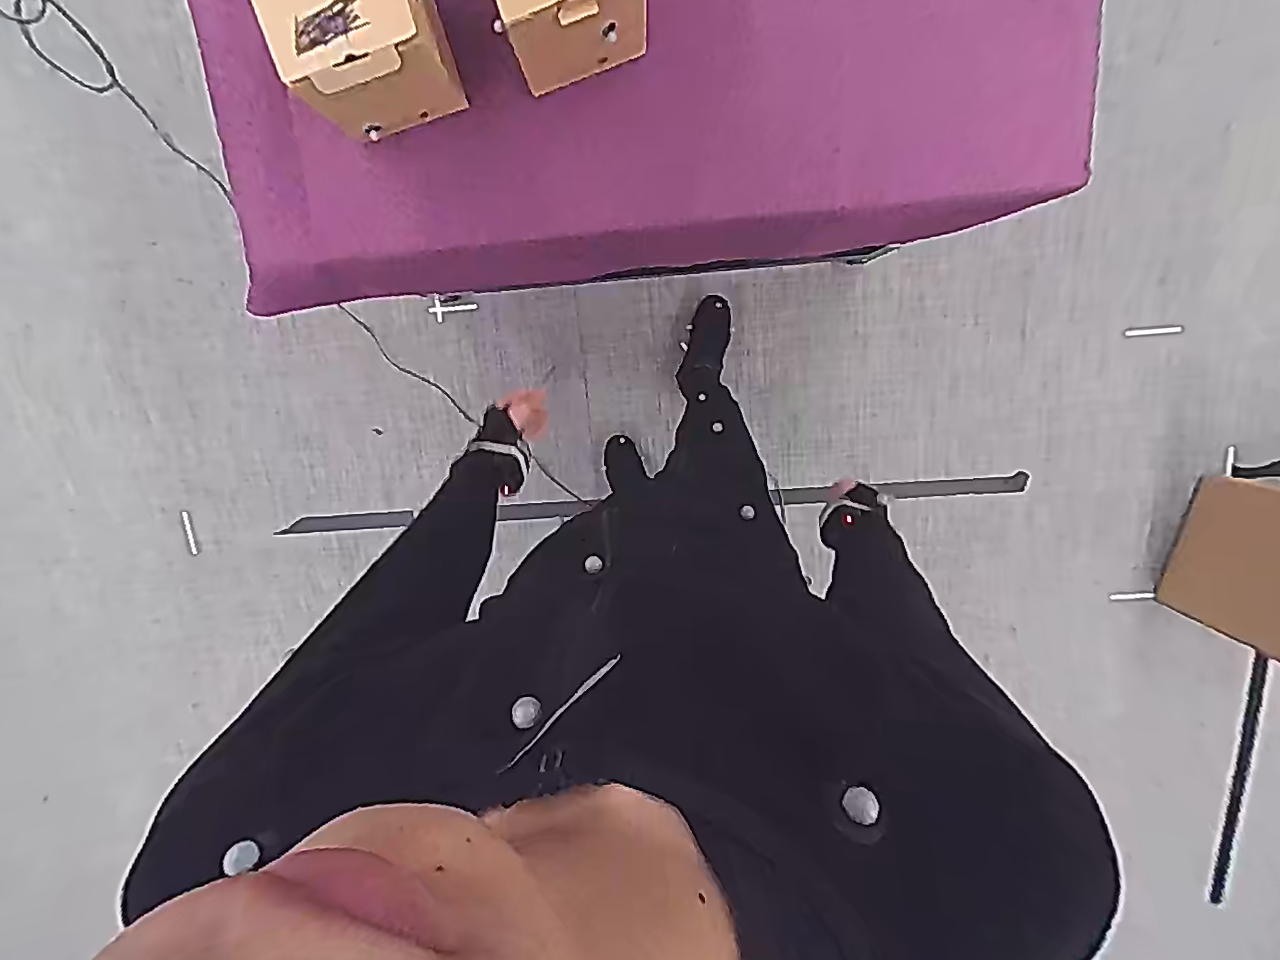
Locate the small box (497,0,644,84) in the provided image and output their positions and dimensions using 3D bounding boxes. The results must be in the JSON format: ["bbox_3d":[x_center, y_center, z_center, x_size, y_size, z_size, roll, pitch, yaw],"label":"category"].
[{"bbox_3d":[-0.095,-0.620,0.650,0.168,0.176,0.179,-18,101,4],"label":"small box"}]

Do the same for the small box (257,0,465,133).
[{"bbox_3d":[-0.339,-0.561,0.664,0.168,0.176,0.179,-16,101,4],"label":"small box"}]
